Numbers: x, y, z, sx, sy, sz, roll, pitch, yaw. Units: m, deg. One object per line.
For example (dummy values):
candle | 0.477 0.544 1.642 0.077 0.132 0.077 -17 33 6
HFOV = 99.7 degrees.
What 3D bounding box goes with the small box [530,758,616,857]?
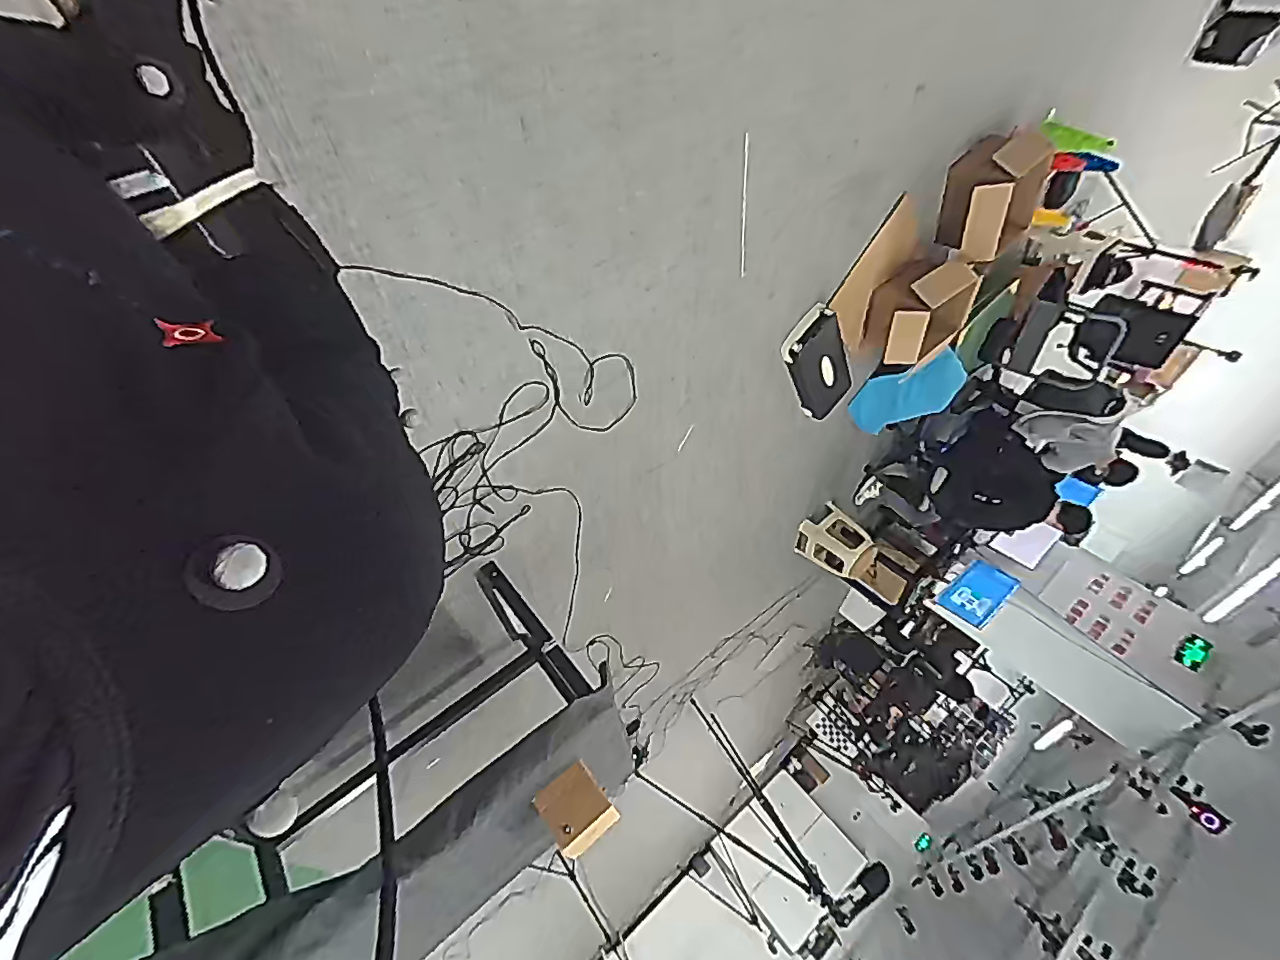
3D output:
small box | -0.198 0.969 1.608 0.179 0.176 0.168 -34 143 -21
